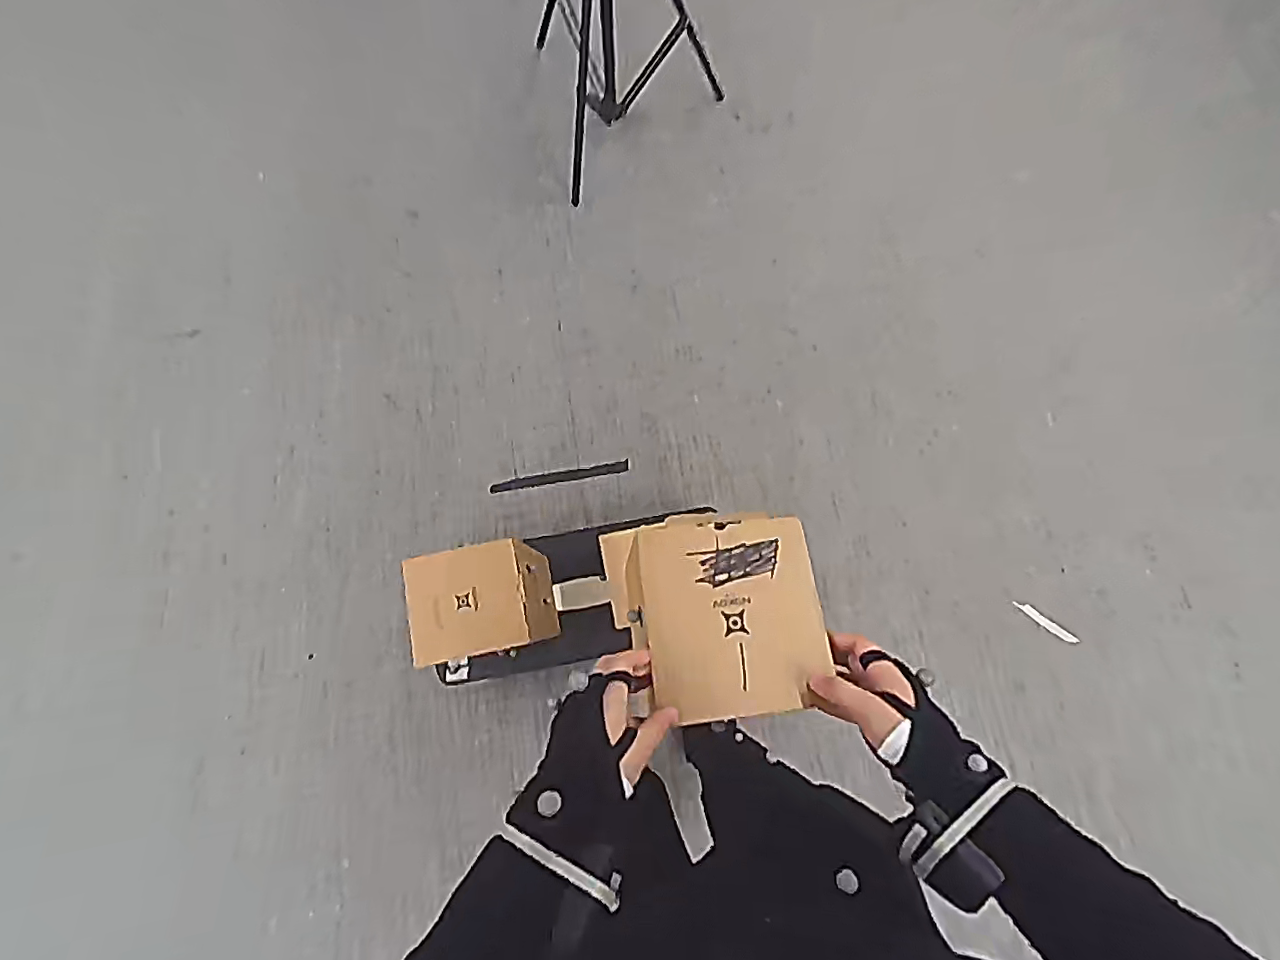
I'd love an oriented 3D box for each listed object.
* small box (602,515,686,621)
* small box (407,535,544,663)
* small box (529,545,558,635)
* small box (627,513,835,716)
[{"bbox_3d":[0.021,0.180,1.081,0.168,0.176,0.179,-11,77,-1],"label":"small box"},{"bbox_3d":[-0.264,0.198,0.908,0.179,0.176,0.168,-13,77,-3],"label":"small box"},{"bbox_3d":[-0.265,0.233,1.068,0.179,0.176,0.168,-12,78,-3],"label":"small box"},{"bbox_3d":[0.079,0.148,0.578,0.168,0.176,0.179,-5,70,-6],"label":"small box"}]
